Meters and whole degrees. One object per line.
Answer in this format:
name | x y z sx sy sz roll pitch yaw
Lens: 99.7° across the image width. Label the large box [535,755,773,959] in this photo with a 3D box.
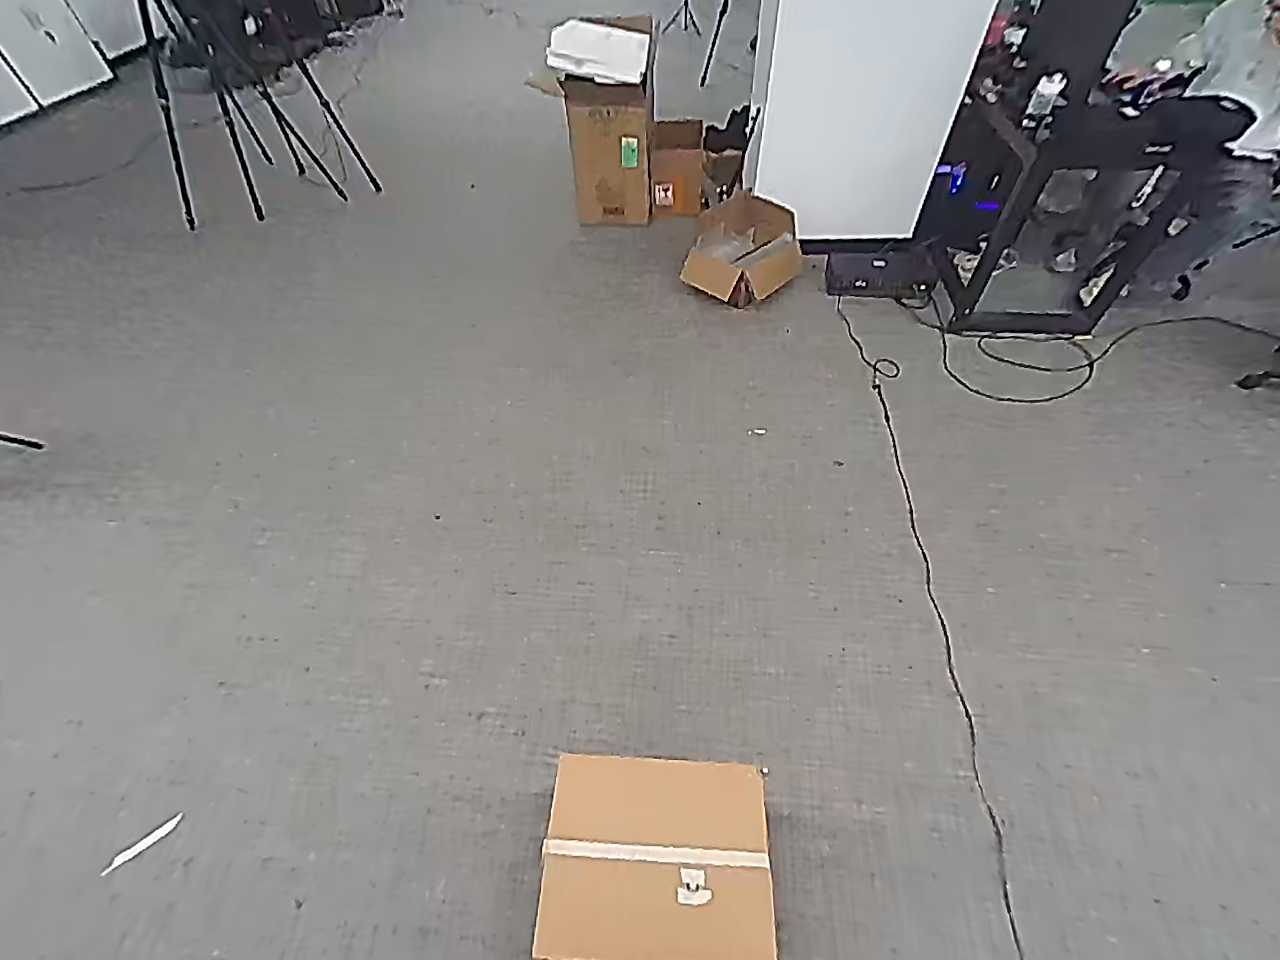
large box | 0.029 0.774 1.099 0.408 0.320 0.320 2 51 3
